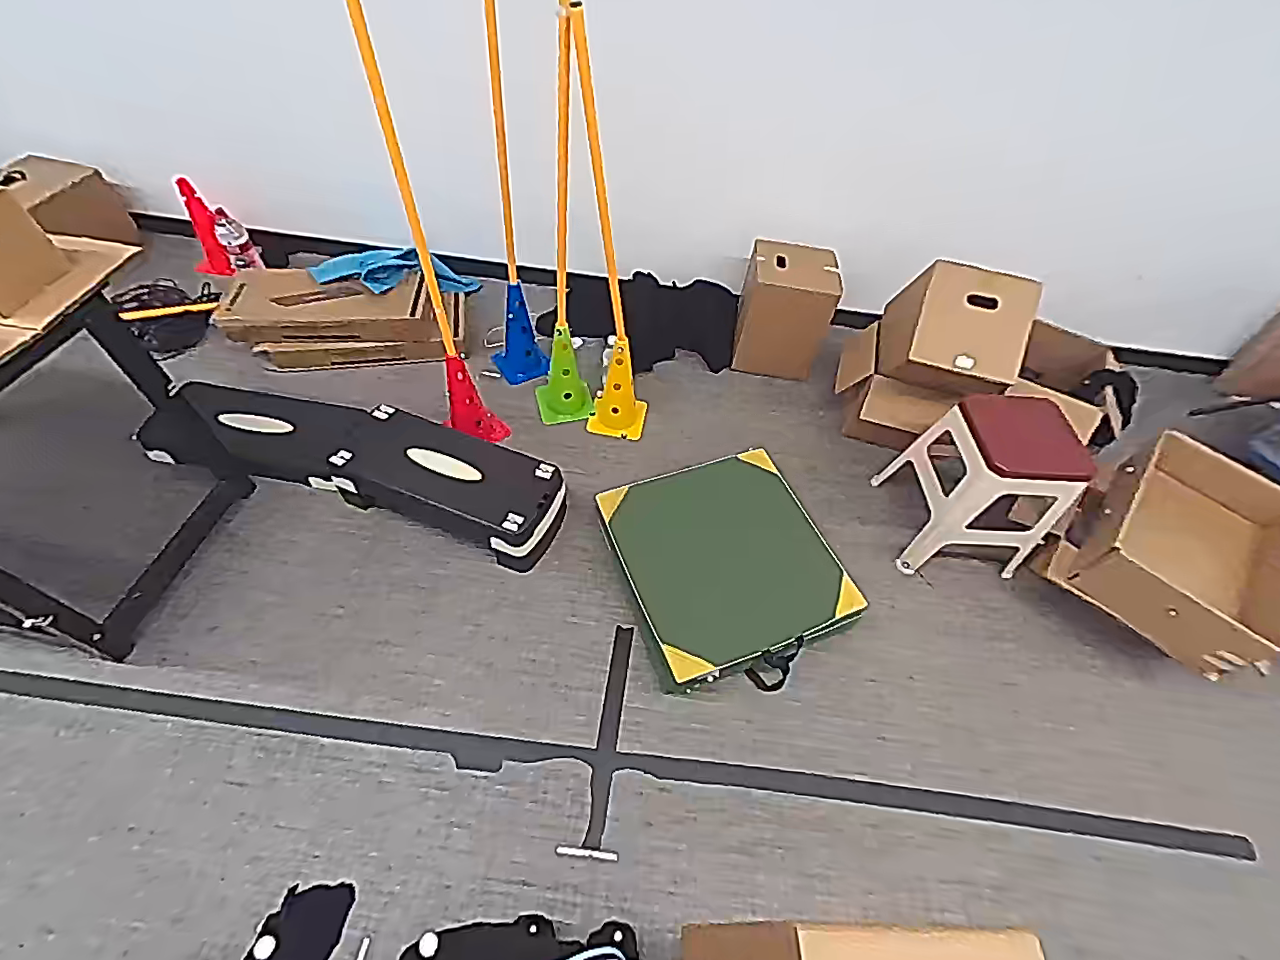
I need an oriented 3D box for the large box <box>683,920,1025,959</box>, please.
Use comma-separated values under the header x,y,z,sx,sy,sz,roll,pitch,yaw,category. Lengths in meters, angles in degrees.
x,y,z,sx,sy,sz,roll,pitch,yaw,category
0.265,0.755,0.671,0.320,0.408,0.320,10,50,-9,large box
